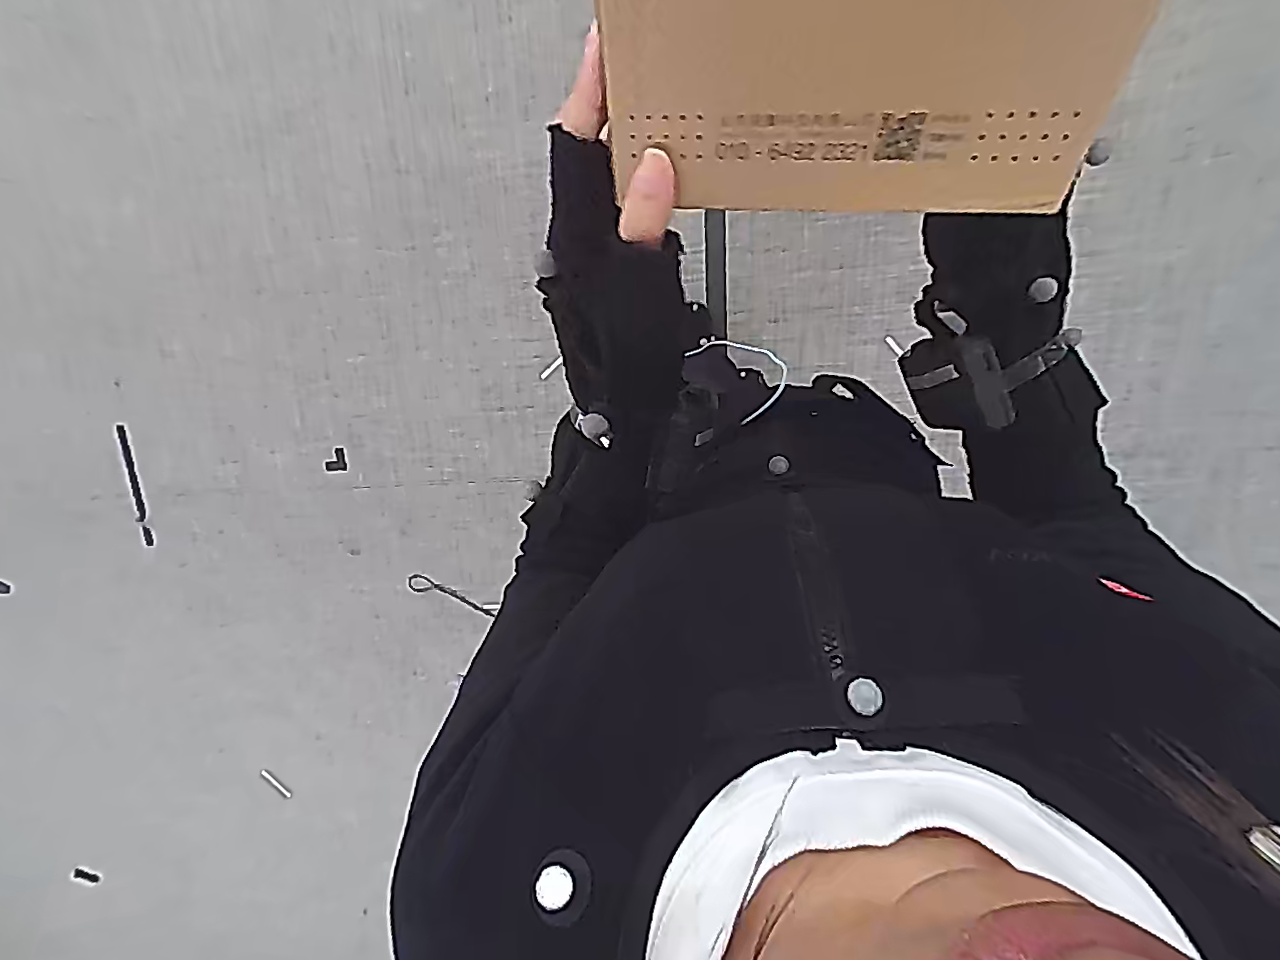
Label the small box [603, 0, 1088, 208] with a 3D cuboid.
[{"bbox_3d":[0.082,-0.230,0.222,0.168,0.179,0.176,8,140,12],"label":"small box"}]
